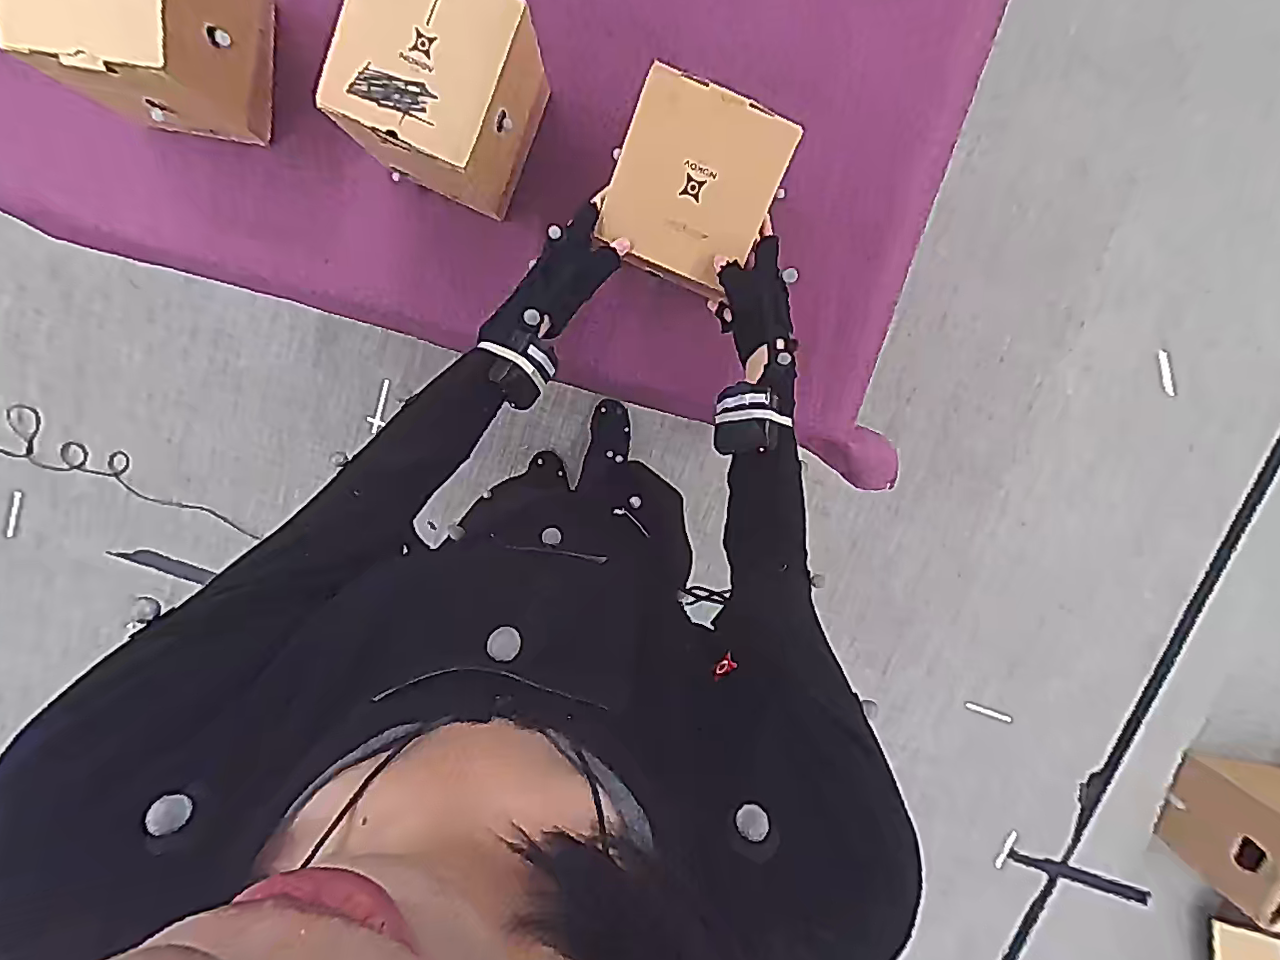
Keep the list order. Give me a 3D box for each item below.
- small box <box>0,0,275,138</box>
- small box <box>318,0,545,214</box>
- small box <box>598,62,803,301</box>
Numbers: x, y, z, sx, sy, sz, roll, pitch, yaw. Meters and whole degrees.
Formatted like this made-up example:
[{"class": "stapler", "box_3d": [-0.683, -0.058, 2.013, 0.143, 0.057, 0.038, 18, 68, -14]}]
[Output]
[{"class": "small box", "box_3d": [-0.541, -0.516, 0.601, 0.168, 0.176, 0.179, 8, 99, -3]}, {"class": "small box", "box_3d": [-0.220, -0.441, 0.621, 0.168, 0.176, 0.179, 23, 97, -5]}, {"class": "small box", "box_3d": [0.063, -0.328, 0.637, 0.168, 0.176, 0.179, 22, 105, -3]}]
